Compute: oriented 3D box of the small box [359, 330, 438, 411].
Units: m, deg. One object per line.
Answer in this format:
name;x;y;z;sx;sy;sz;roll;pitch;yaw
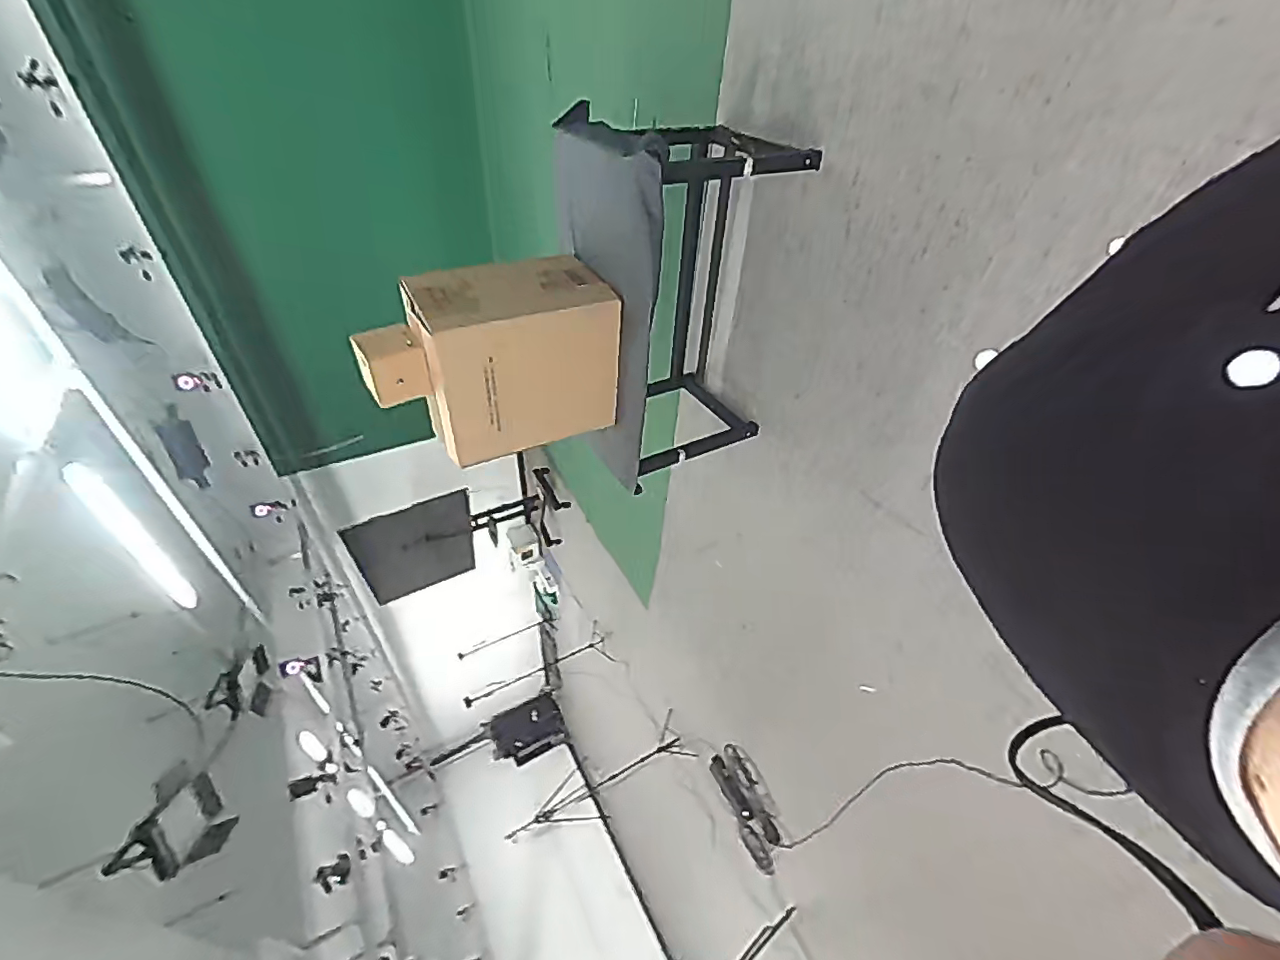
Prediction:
small box;-0.764;-0.354;1.723;0.168;0.176;0.179;46;147;33
